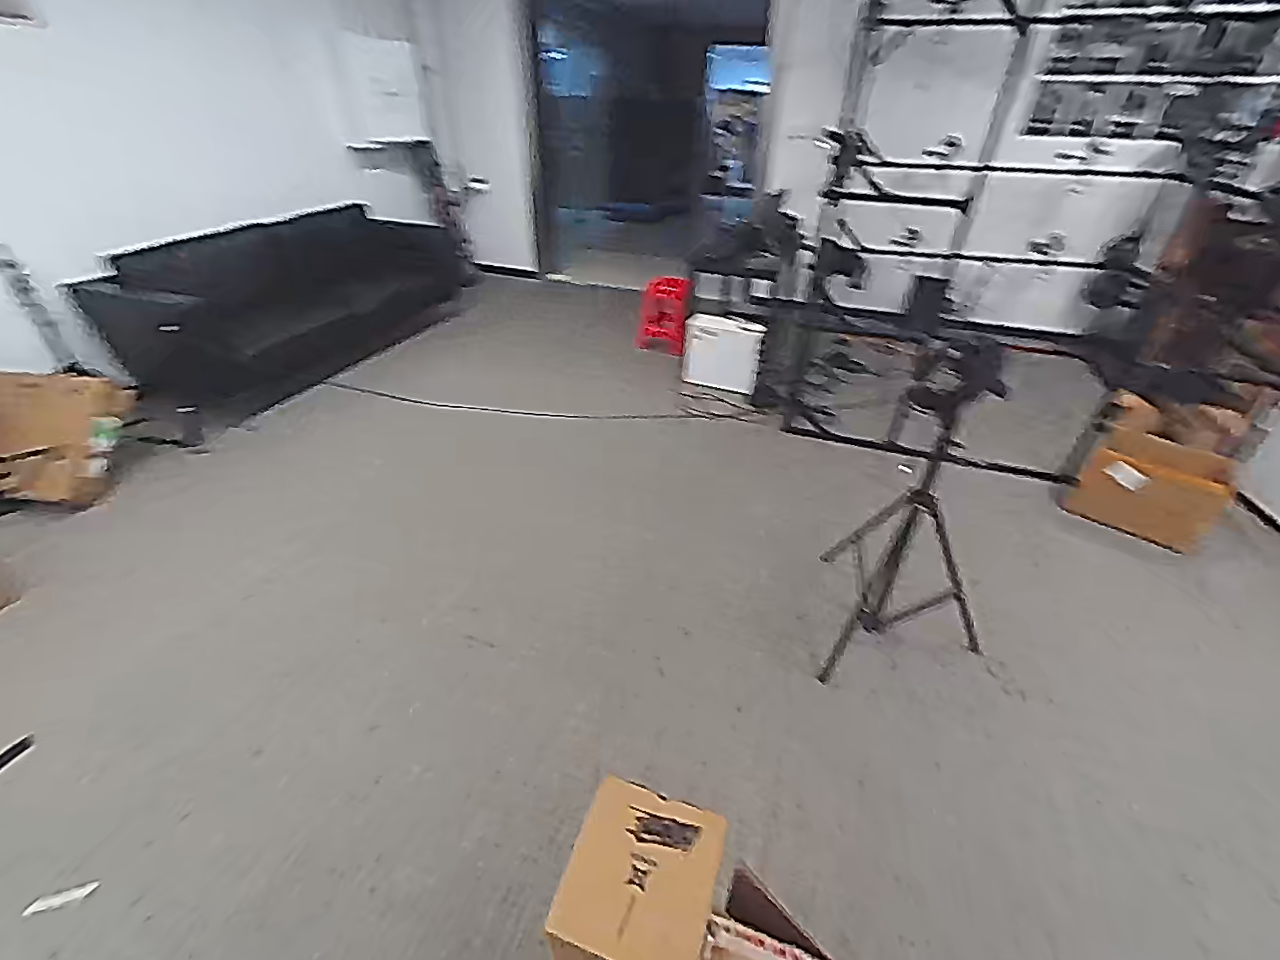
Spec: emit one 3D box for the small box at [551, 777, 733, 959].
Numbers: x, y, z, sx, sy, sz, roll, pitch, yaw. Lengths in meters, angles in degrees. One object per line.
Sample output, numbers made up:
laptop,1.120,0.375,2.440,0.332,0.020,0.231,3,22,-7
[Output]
small box,0.009,0.512,0.661,0.168,0.176,0.179,11,38,17
